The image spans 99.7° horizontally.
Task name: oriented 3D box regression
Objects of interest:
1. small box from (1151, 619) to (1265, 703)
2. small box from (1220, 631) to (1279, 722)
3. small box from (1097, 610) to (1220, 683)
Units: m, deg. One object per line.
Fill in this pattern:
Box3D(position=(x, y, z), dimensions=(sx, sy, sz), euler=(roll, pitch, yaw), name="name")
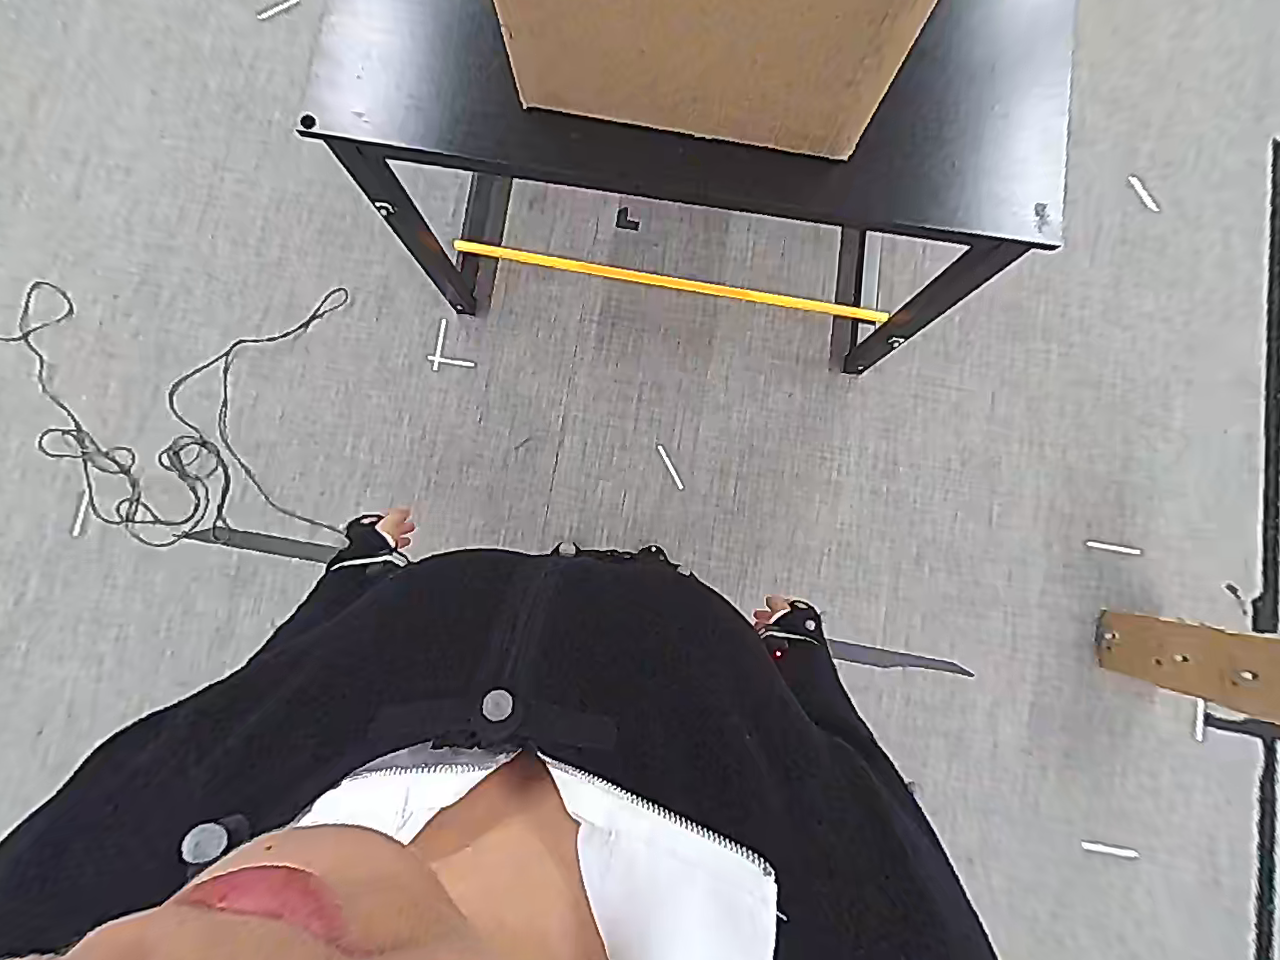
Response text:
Box3D(position=(1.344, 0.424, 1.253), dimensions=(0.179, 0.176, 0.168), euler=(8, 83, 0), name="small box")
Box3D(position=(1.346, 0.403, 1.089), dimensions=(0.179, 0.176, 0.168), euler=(3, 82, -1), name="small box")
Box3D(position=(1.358, 0.440, 1.417), dimensions=(0.179, 0.176, 0.168), euler=(7, 83, 1), name="small box")
